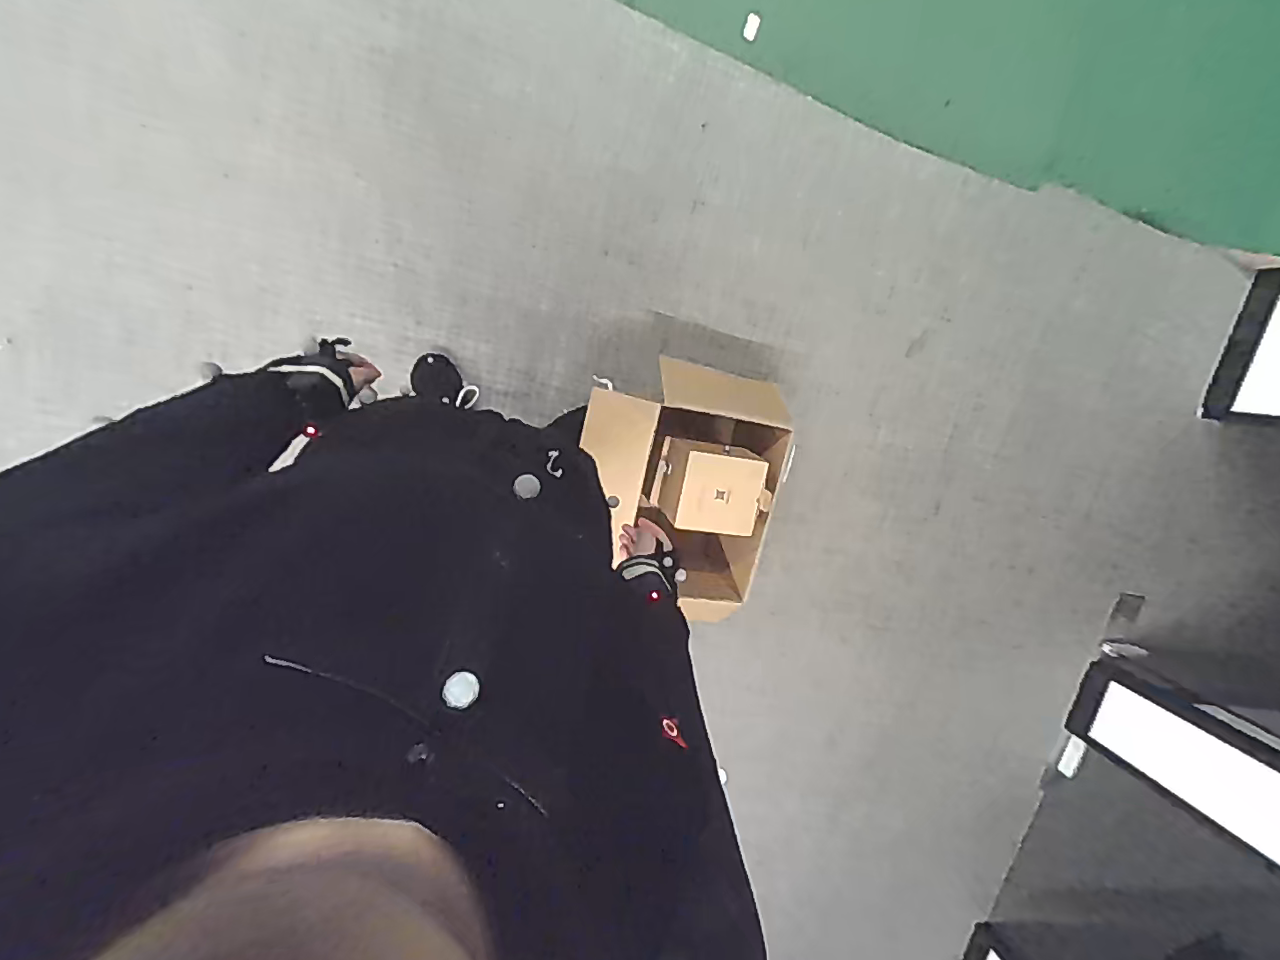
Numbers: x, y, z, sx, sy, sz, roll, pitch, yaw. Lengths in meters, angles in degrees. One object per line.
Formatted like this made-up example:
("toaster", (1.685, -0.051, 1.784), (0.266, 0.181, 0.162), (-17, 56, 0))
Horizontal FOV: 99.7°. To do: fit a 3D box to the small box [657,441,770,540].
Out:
("small box", (0.151, 0.018, 1.171), (0.179, 0.176, 0.168), (8, 102, -13))
